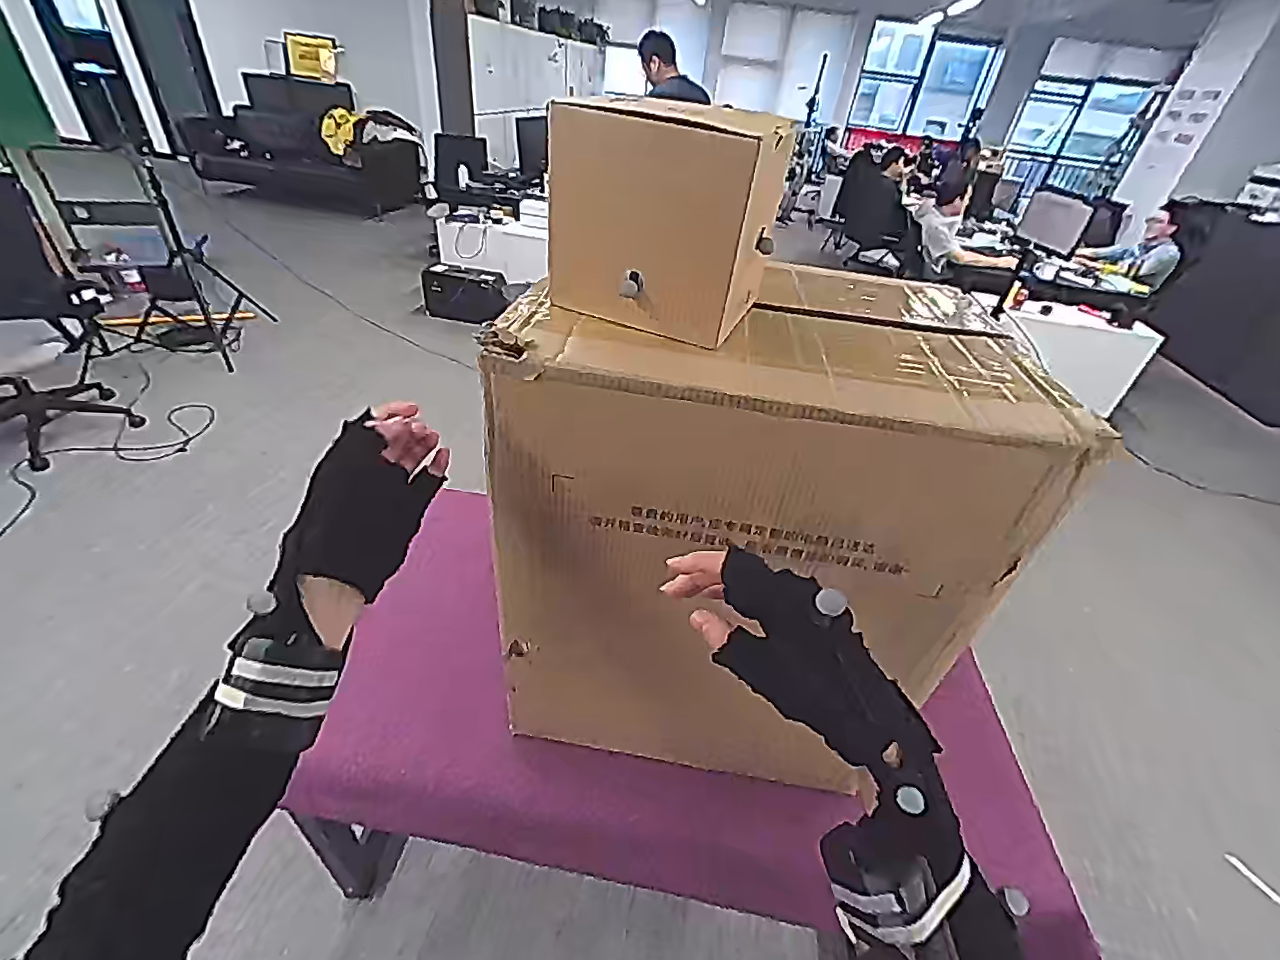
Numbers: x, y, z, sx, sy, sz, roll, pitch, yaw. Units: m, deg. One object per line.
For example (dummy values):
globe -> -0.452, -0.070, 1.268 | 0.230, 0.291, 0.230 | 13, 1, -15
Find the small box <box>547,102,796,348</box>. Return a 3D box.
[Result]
small box -> 0.027, -0.243, 0.515 | 0.179, 0.176, 0.168 | 19, 39, 14
